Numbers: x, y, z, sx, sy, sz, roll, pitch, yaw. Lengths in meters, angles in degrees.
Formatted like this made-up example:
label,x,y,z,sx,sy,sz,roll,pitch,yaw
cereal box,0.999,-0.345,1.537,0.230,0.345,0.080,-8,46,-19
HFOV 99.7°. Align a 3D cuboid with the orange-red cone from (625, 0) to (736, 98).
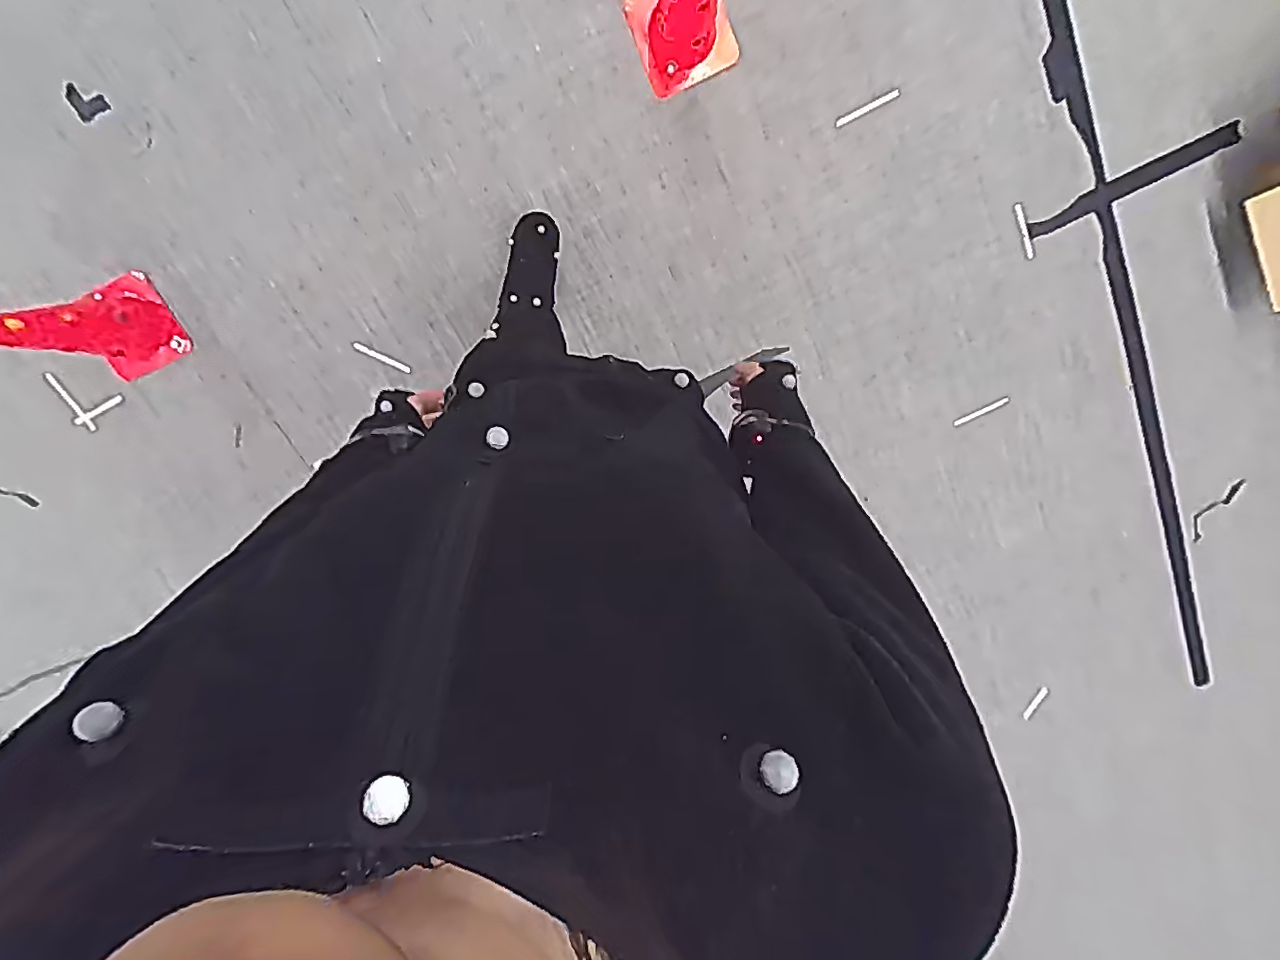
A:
label,x,y,z,sx,sy,sz,roll,pitch,yaw
orange-red cone,0.098,-0.897,0.981,0.199,0.360,0.198,-23,107,3
